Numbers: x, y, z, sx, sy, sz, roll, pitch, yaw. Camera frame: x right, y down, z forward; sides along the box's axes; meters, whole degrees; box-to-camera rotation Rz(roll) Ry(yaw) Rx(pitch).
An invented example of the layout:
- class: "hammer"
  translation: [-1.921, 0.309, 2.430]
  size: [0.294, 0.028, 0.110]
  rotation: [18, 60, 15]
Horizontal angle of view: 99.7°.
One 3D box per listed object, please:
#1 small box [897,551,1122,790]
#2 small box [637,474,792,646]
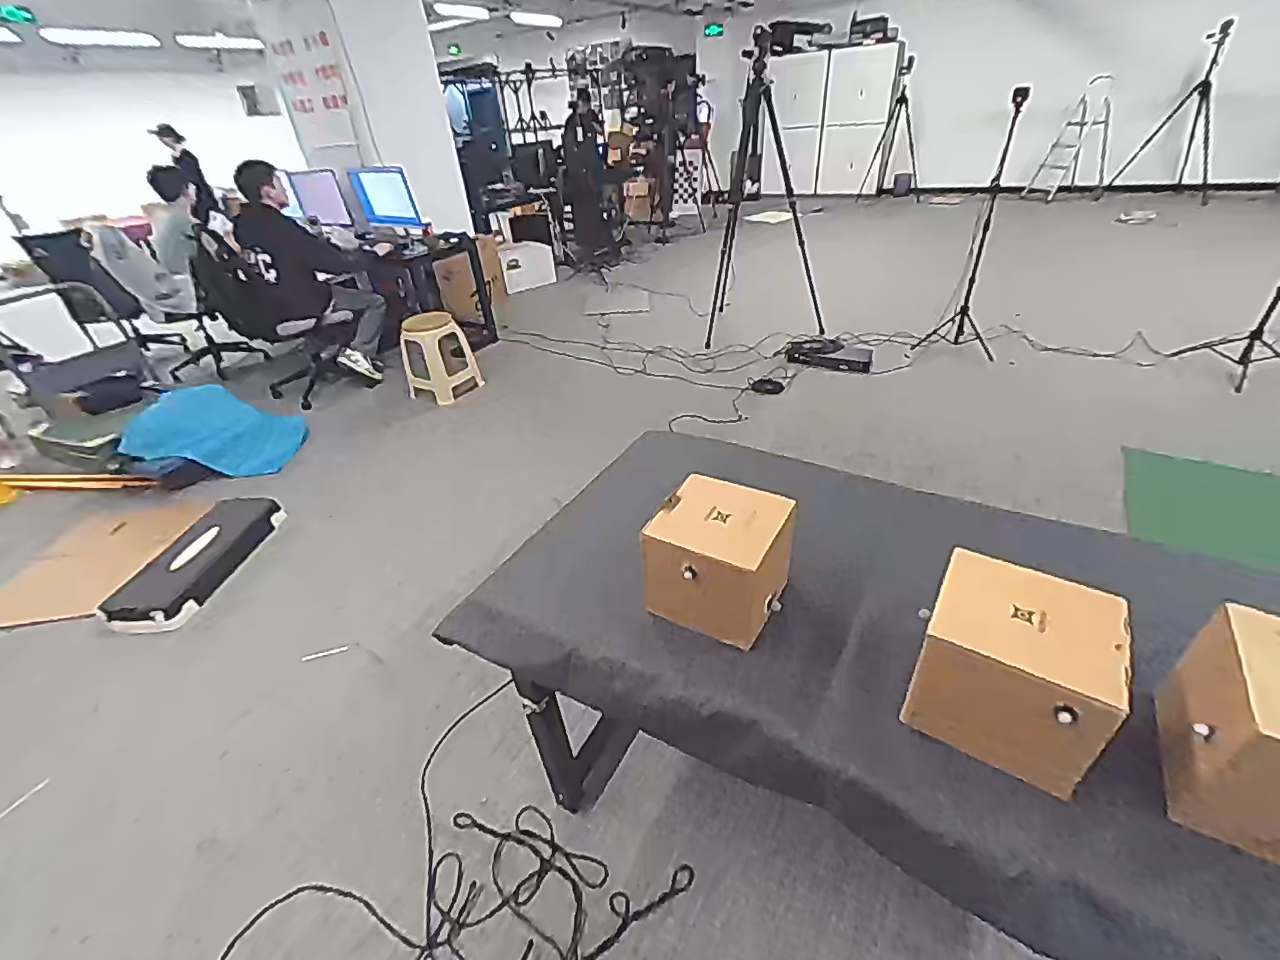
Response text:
- class: "small box"
  translation: [0.423, 0.219, 0.637]
  size: [0.179, 0.176, 0.168]
  rotation: [19, 40, 30]
- class: "small box"
  translation: [0.113, 0.119, 0.819]
  size: [0.179, 0.176, 0.168]
  rotation: [17, 40, 27]
